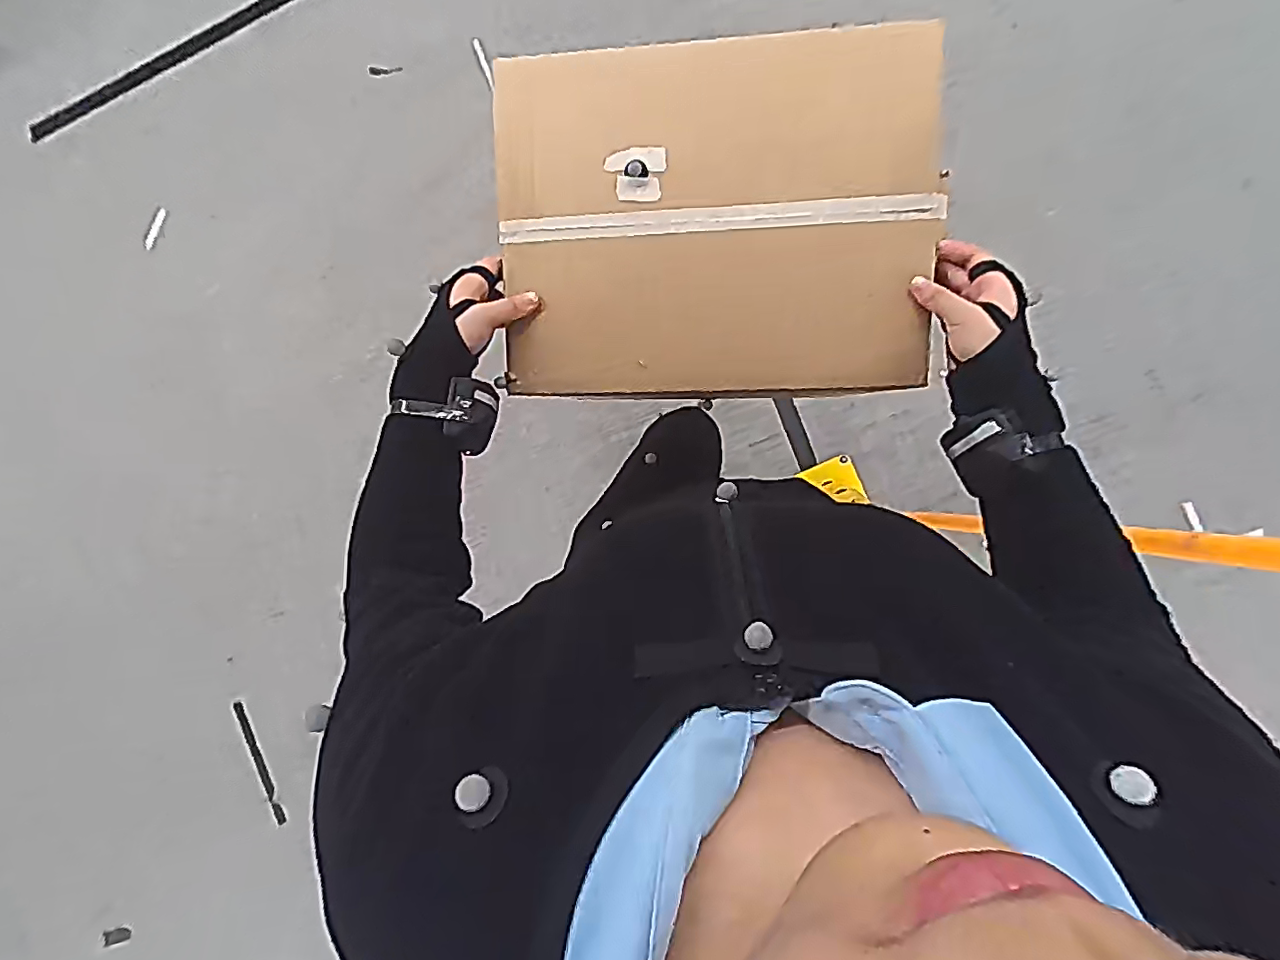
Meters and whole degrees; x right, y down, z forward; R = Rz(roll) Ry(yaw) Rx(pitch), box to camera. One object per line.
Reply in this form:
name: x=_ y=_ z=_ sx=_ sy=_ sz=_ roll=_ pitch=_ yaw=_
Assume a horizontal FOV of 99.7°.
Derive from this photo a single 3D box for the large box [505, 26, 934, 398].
large box: x=0.088 y=-0.263 z=0.664 sx=0.408 sy=0.320 sz=0.320 roll=0 pitch=96 yaw=8
